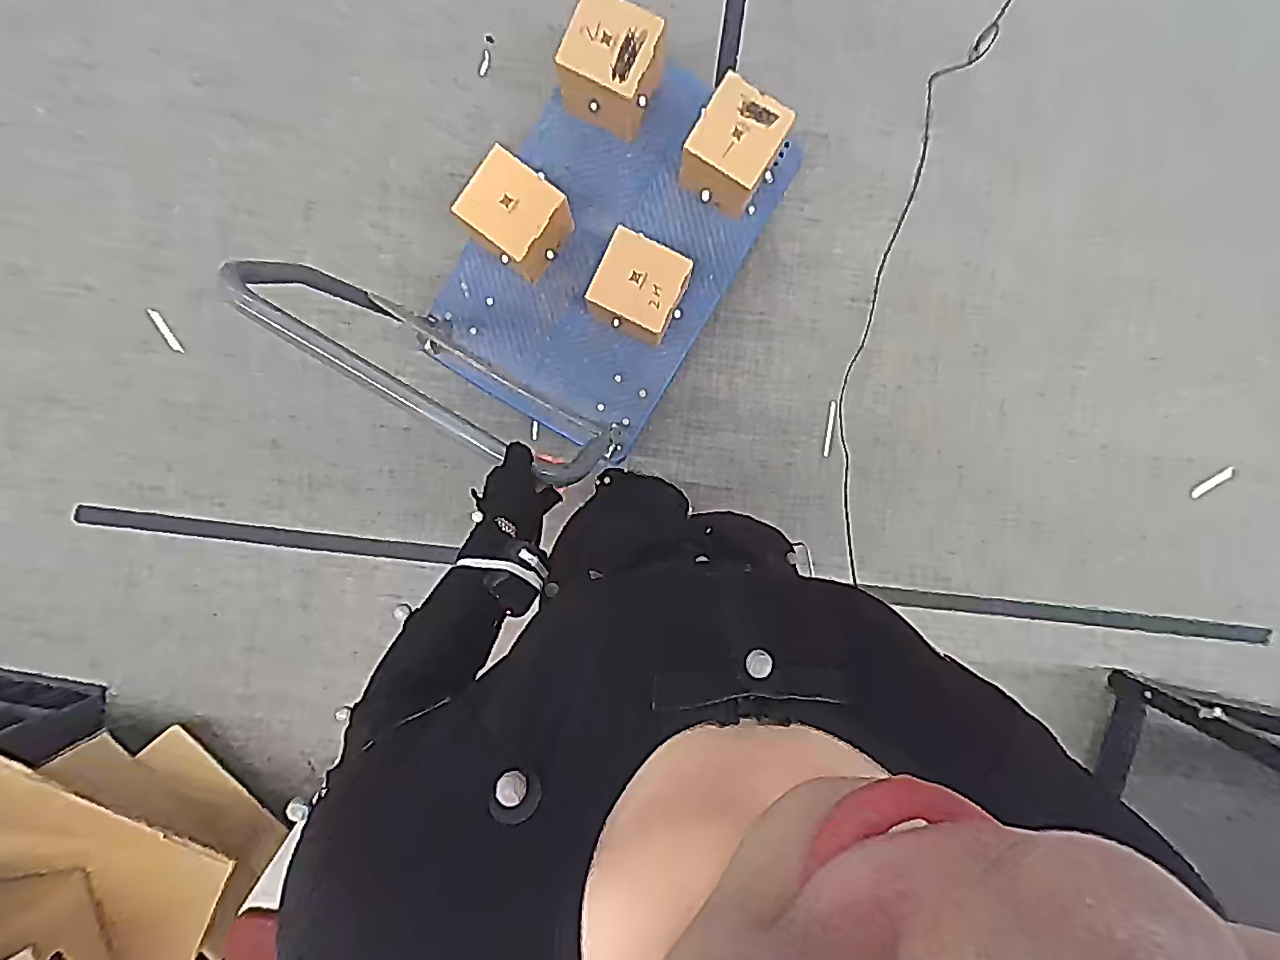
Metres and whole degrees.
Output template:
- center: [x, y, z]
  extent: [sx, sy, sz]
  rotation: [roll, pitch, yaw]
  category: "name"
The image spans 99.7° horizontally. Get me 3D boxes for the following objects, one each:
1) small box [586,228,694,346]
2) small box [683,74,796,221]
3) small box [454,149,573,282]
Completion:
- center: [0.001, -0.413, 1.193]
  extent: [0.179, 0.176, 0.168]
  rotation: [26, 94, -1]
  category: "small box"
- center: [0.204, -0.708, 1.173]
  extent: [0.168, 0.176, 0.179]
  rotation: [31, 95, -2]
  category: "small box"
- center: [-0.267, -0.565, 1.183]
  extent: [0.179, 0.176, 0.168]
  rotation: [35, 93, -4]
  category: "small box"
